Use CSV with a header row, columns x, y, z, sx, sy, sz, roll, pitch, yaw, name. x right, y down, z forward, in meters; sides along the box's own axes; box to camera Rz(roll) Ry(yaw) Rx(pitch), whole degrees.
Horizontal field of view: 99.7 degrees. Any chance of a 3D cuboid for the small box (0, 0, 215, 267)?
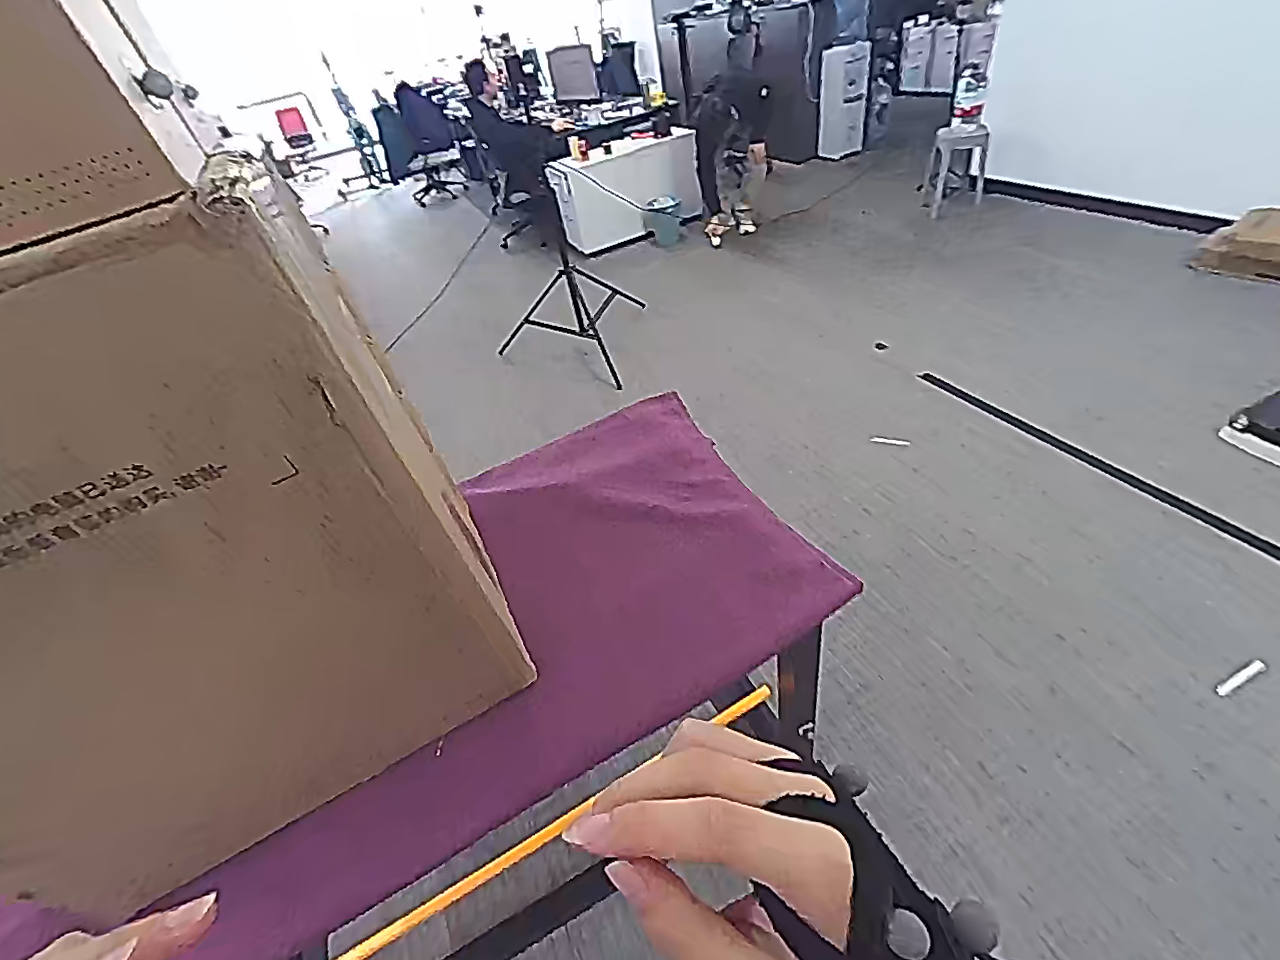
x,y,z,sx,sy,sz,roll,pitch,yaw,name
-0.397,-0.226,0.308,0.179,0.176,0.168,-29,44,-15,small box
